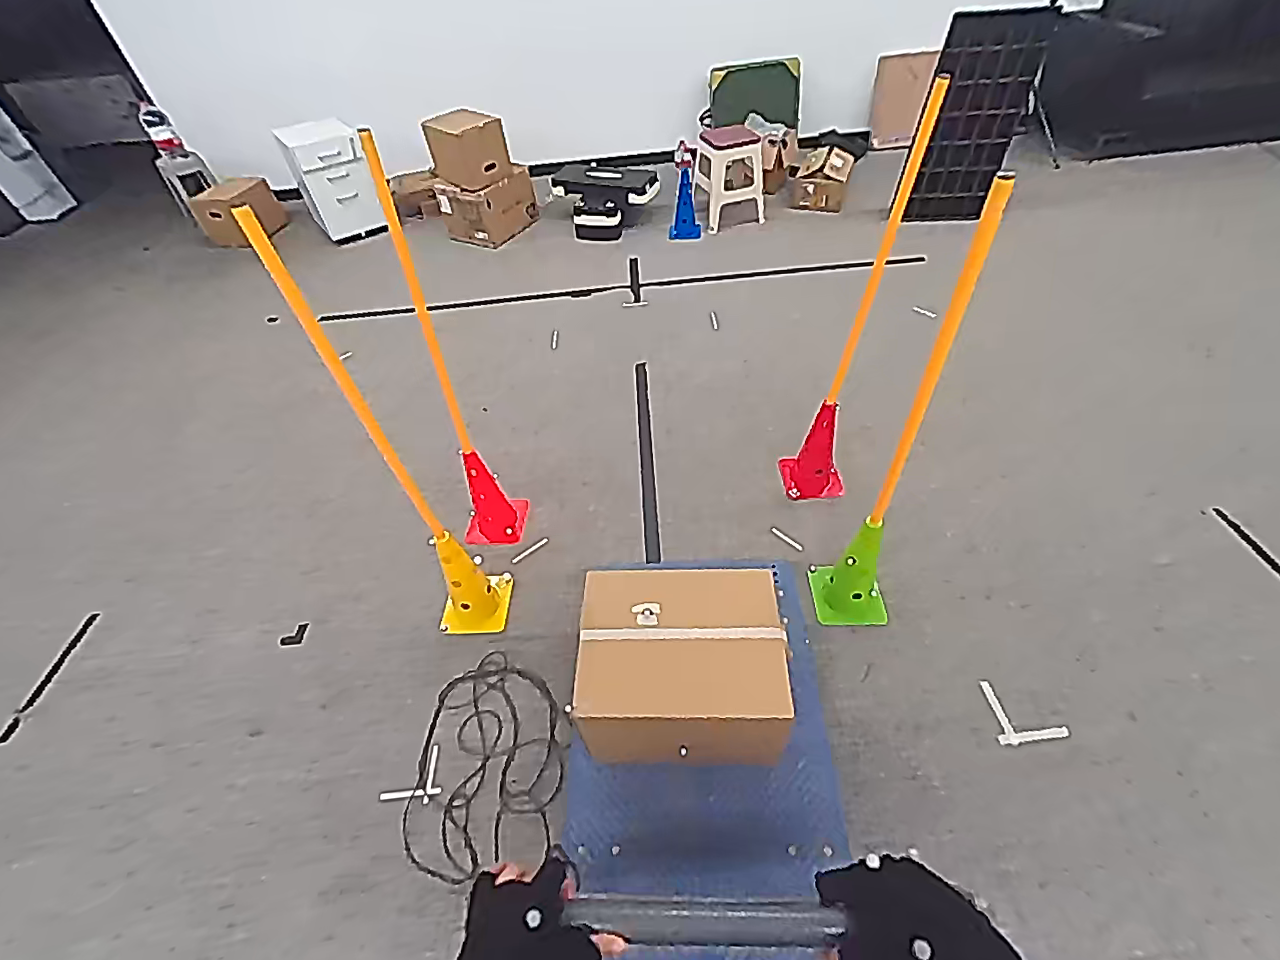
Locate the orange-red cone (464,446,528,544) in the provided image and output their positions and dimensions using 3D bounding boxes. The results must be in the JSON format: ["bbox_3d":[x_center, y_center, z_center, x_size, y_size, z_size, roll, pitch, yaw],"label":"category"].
[{"bbox_3d":[-0.519,0.027,1.798,0.198,0.360,0.199,1,46,5],"label":"orange-red cone"}]

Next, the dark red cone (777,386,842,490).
[{"bbox_3d":[0.602,-0.149,1.824,0.201,0.394,0.202,-4,48,-1],"label":"dark red cone"}]

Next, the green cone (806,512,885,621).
[{"bbox_3d":[0.608,0.221,1.510,0.202,0.368,0.200,-1,48,3],"label":"green cone"}]

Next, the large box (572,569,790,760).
[{"bbox_3d":[0.089,0.413,1.189,0.408,0.320,0.320,-2,48,5],"label":"large box"}]
